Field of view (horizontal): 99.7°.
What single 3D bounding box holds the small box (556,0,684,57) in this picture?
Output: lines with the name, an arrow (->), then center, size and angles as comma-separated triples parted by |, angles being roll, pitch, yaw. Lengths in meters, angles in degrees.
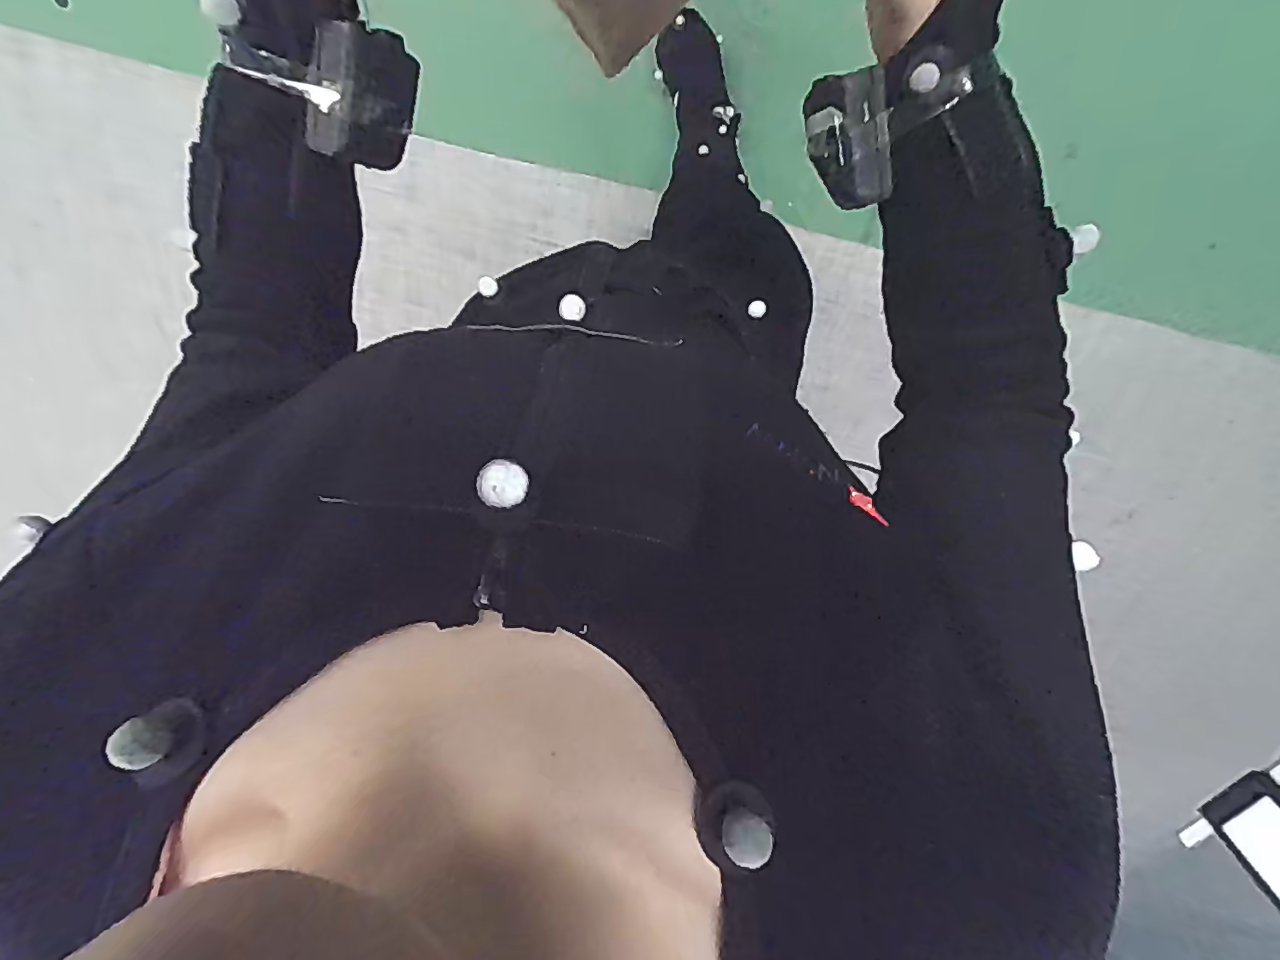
small box -> -0.008, -0.292, 0.176 | 0.179, 0.176, 0.168 | -35, 109, 21
